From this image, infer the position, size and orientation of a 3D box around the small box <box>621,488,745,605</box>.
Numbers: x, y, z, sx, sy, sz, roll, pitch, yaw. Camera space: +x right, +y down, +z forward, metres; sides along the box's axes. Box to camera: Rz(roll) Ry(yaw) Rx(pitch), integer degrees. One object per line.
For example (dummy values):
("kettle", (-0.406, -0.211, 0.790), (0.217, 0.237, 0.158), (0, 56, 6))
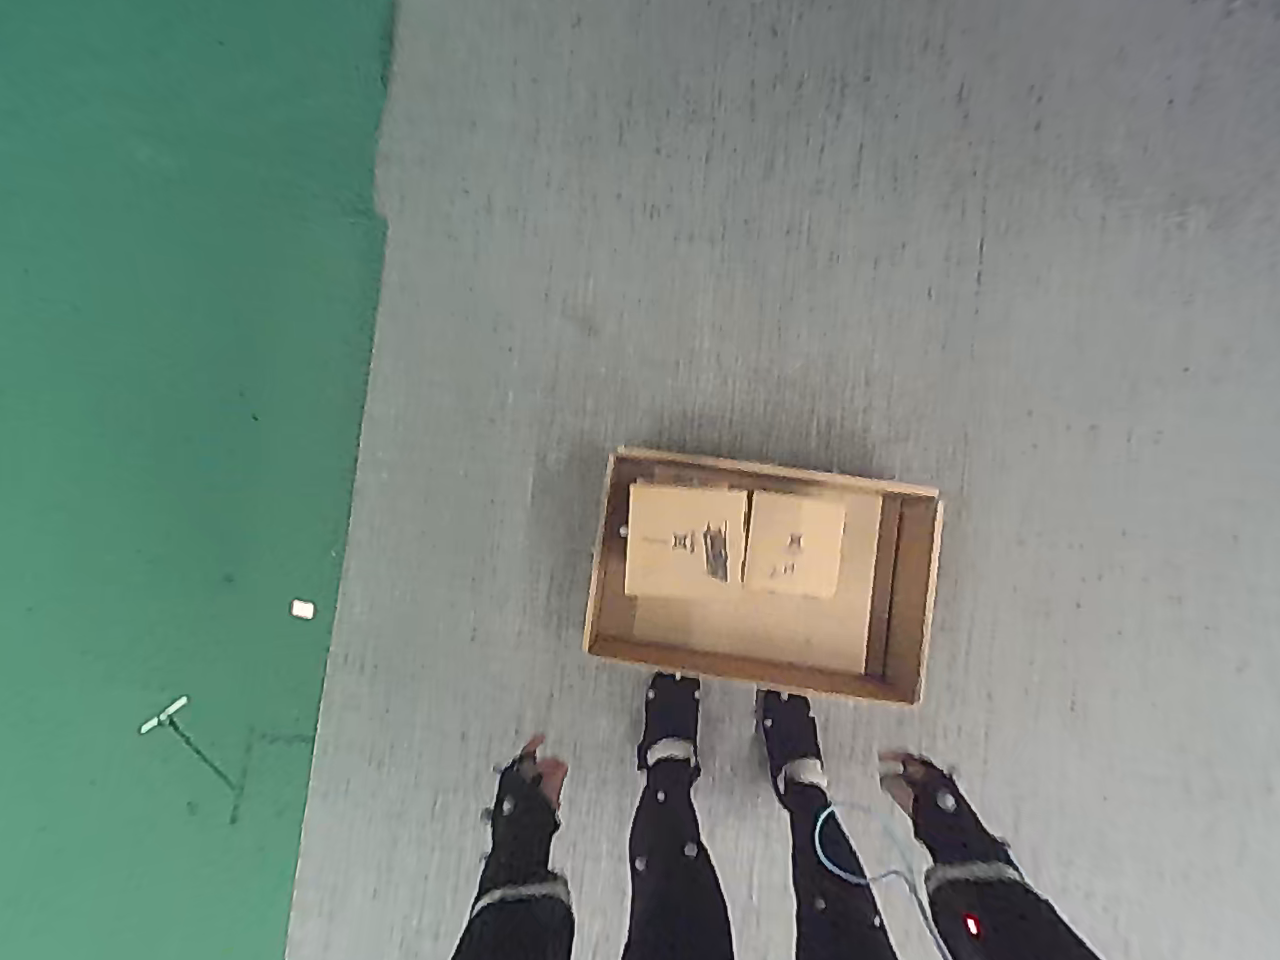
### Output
("small box", (0.067, 0.100, 0.879), (0.179, 0.176, 0.168), (3, 88, 3))

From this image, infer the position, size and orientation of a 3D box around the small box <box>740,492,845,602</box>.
("small box", (0.275, 0.122, 1.032), (0.168, 0.176, 0.179), (8, 88, 5))
